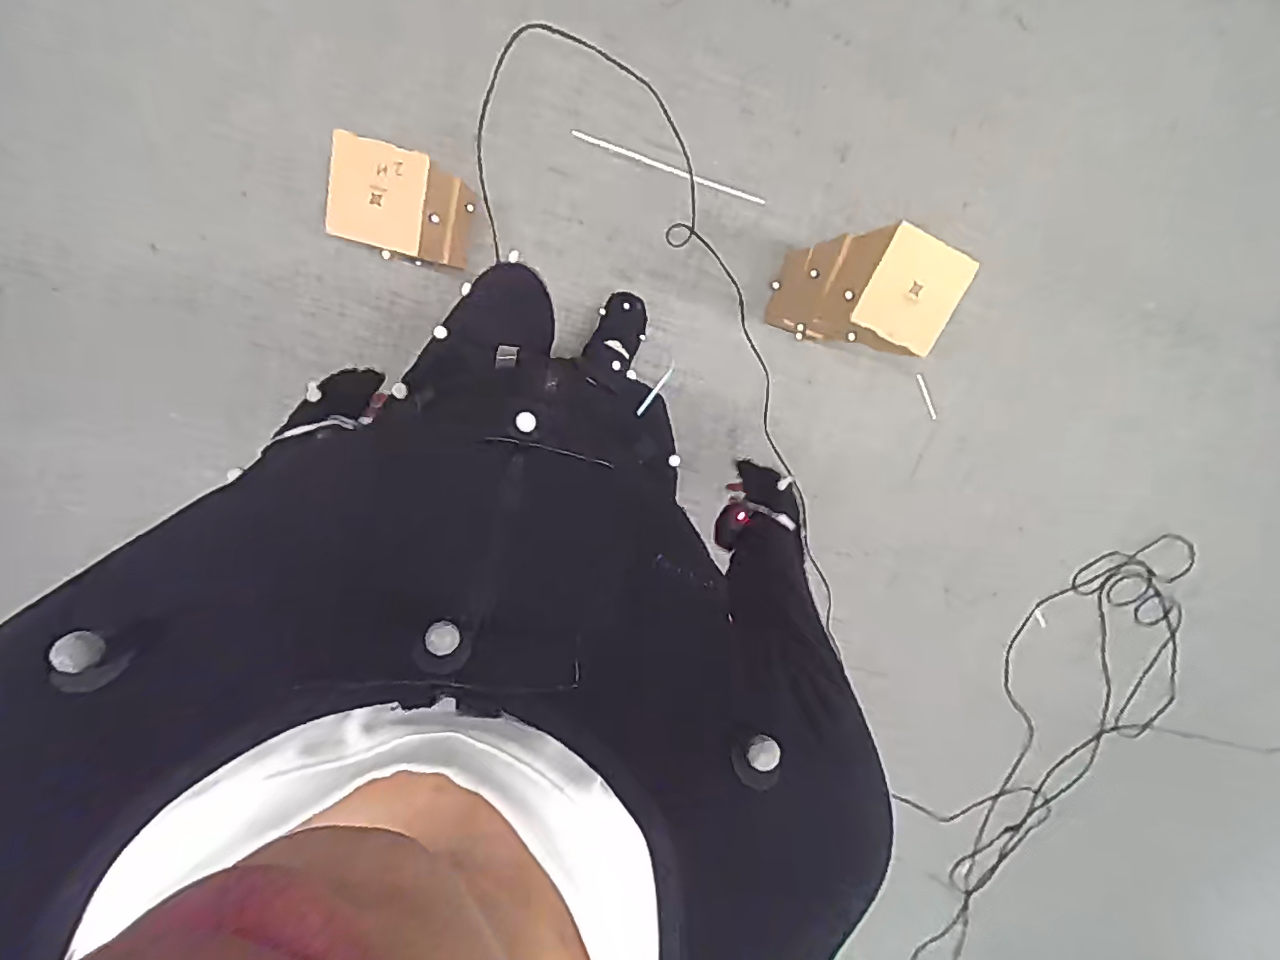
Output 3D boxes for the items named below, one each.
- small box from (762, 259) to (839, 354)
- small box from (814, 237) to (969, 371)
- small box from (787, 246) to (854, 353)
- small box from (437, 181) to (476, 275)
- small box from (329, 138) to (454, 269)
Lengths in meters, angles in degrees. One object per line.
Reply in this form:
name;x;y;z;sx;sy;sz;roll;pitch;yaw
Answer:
small box;0.419;-0.427;1.329;0.168;0.176;0.179;14;107;-12
small box;0.458;-0.327;1.018;0.168;0.176;0.179;23;105;-11
small box;0.438;-0.380;1.170;0.168;0.176;0.179;18;104;-10
small box;-0.476;-0.573;1.210;0.168;0.176;0.179;14;106;-8
small box;-0.476;-0.524;1.053;0.168;0.176;0.179;13;106;-9
